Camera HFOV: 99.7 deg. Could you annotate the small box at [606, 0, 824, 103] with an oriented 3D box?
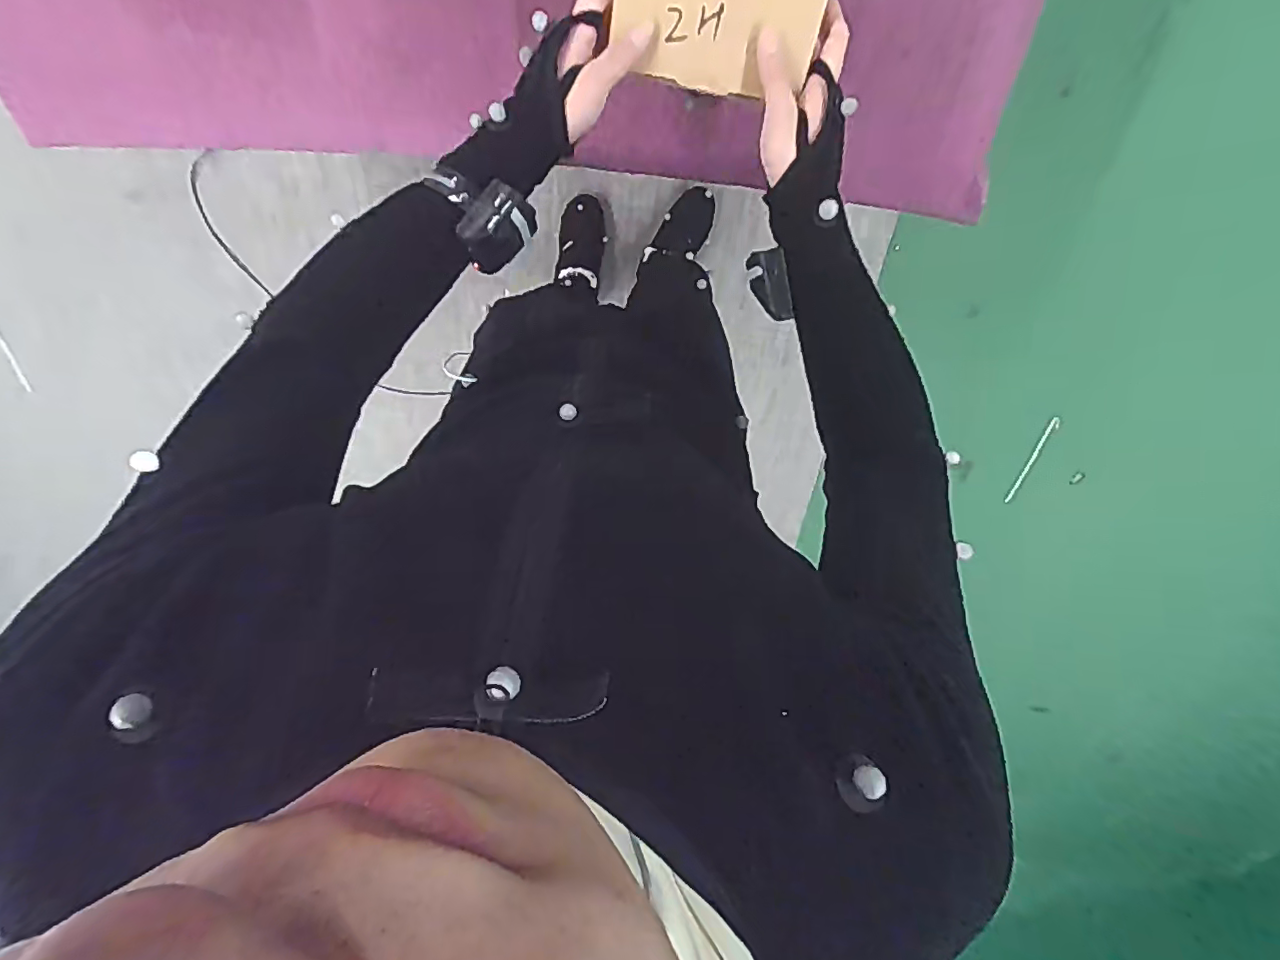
[{"bbox_3d":[0.068,-0.447,0.467,0.168,0.176,0.179,10,125,-4],"label":"small box"}]
